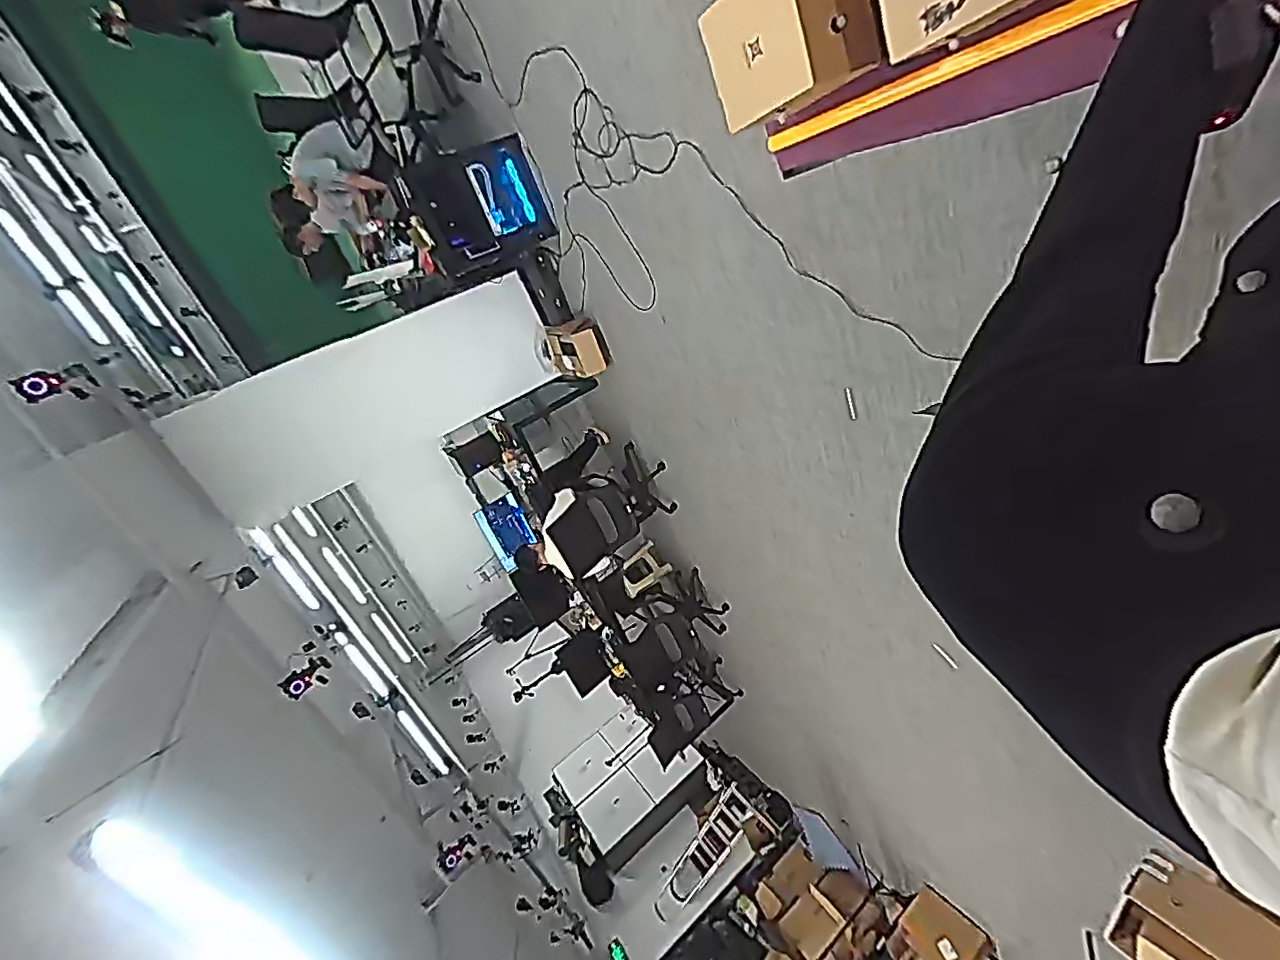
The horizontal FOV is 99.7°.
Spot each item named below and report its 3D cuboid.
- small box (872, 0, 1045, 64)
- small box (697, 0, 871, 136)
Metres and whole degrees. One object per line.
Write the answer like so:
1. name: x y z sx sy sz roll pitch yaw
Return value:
1. small box: 0.370 -0.598 0.582 0.168 0.176 0.179 21 138 58
2. small box: 0.221 -0.657 0.812 0.179 0.176 0.168 18 136 57
